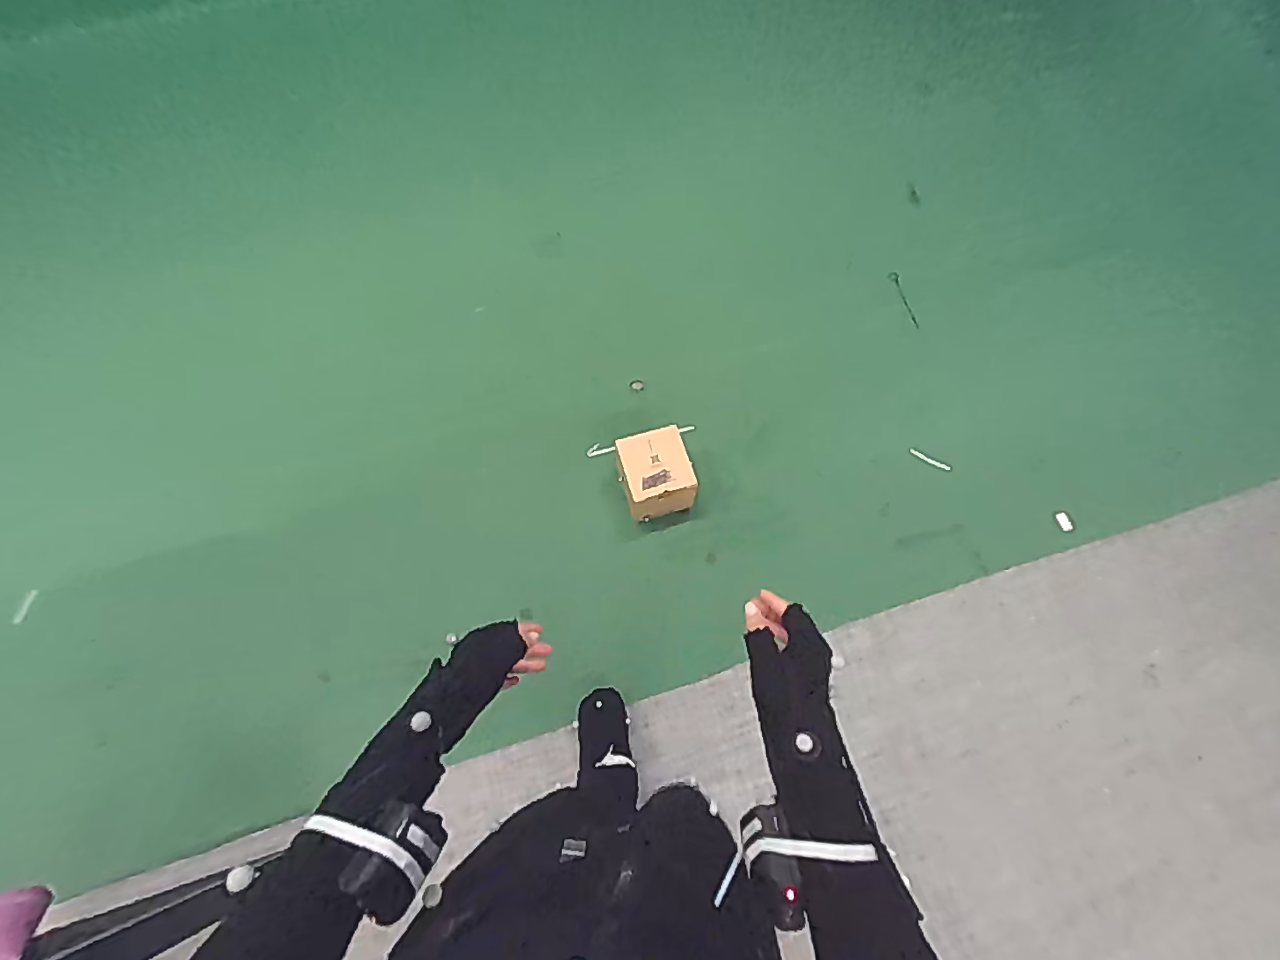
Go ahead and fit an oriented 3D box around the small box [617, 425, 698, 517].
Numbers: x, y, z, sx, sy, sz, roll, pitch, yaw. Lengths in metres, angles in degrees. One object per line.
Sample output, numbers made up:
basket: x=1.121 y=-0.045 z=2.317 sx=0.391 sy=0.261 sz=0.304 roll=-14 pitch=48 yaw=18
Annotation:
small box: x=0.043 y=-0.015 z=1.421 sx=0.168 sy=0.176 sz=0.179 roll=-15 pitch=68 yaw=-7
